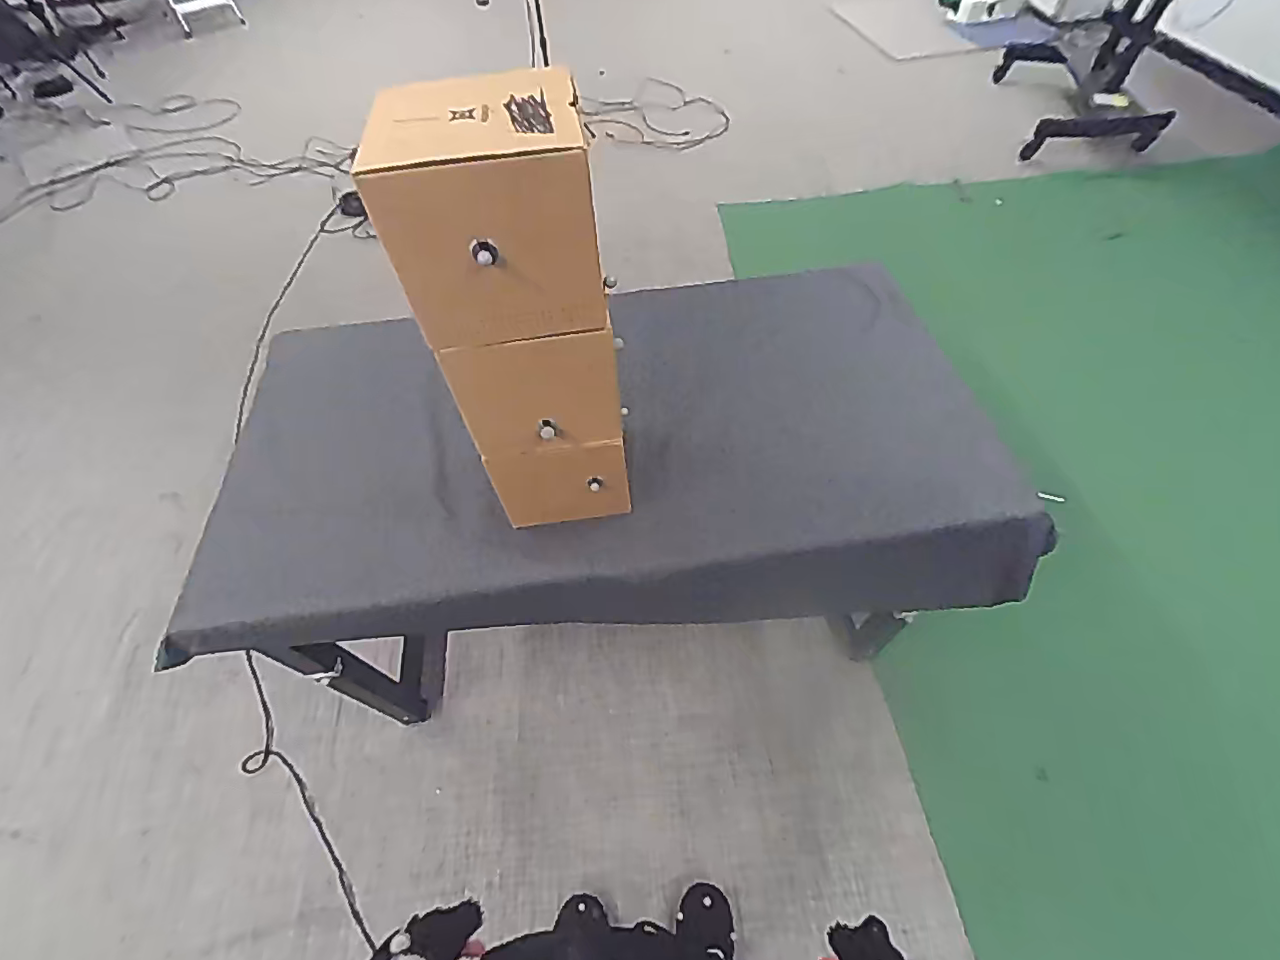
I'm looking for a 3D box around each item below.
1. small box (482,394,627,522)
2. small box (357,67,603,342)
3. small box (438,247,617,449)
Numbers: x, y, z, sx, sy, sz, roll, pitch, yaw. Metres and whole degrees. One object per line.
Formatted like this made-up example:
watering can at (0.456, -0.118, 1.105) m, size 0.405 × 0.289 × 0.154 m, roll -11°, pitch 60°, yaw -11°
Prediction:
small box at (-0.114, -0.058, 0.775) m, size 0.179 × 0.176 × 0.168 m, roll -8°, pitch 54°, yaw -2°
small box at (-0.130, -0.253, 0.511) m, size 0.179 × 0.176 × 0.168 m, roll -8°, pitch 55°, yaw -2°
small box at (-0.122, -0.156, 0.645) m, size 0.179 × 0.176 × 0.168 m, roll -8°, pitch 54°, yaw -4°
